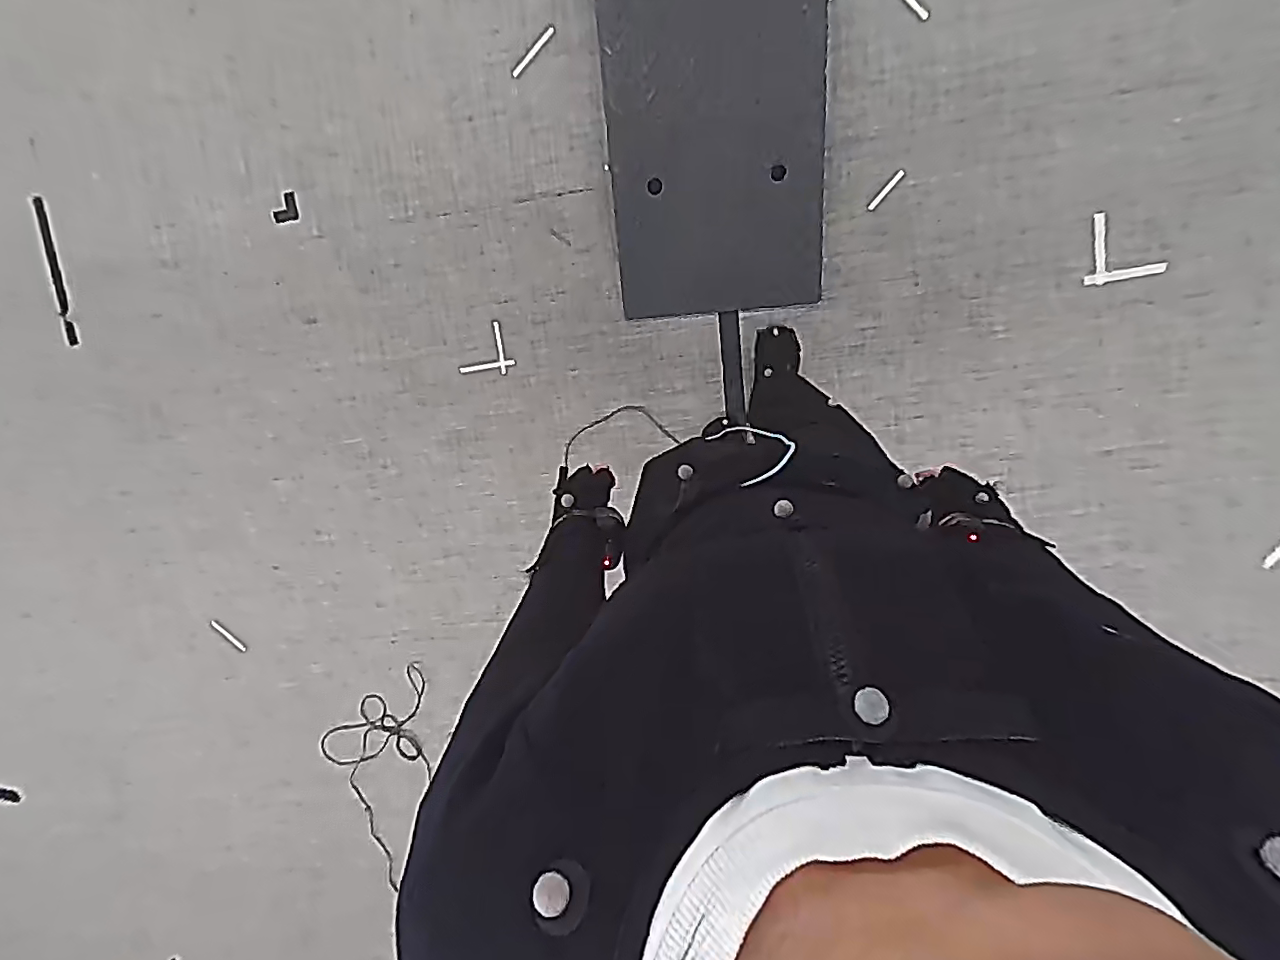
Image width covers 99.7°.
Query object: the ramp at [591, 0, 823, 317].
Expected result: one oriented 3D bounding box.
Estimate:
[{"bbox_3d":[0.152,-0.897,1.187,0.509,0.206,0.991,-5,100,6],"label":"ramp"}]
